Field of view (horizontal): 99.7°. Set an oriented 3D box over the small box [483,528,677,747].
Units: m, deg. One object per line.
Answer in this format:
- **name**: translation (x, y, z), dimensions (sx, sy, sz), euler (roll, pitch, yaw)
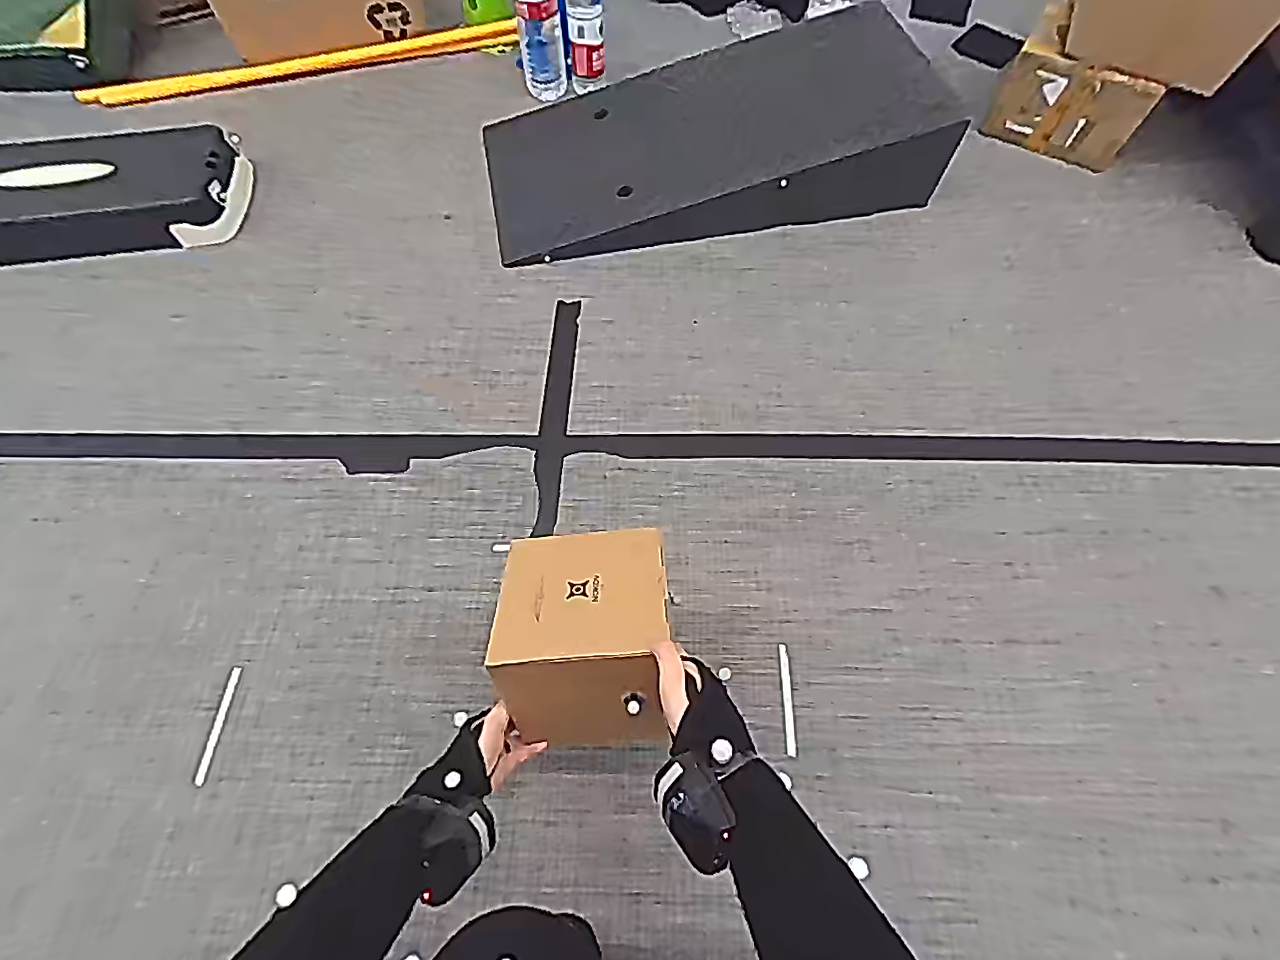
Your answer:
- **small box**: translation (-0.051, 0.175, 0.601), dimensions (0.179, 0.176, 0.168), euler (-5, 38, 4)
